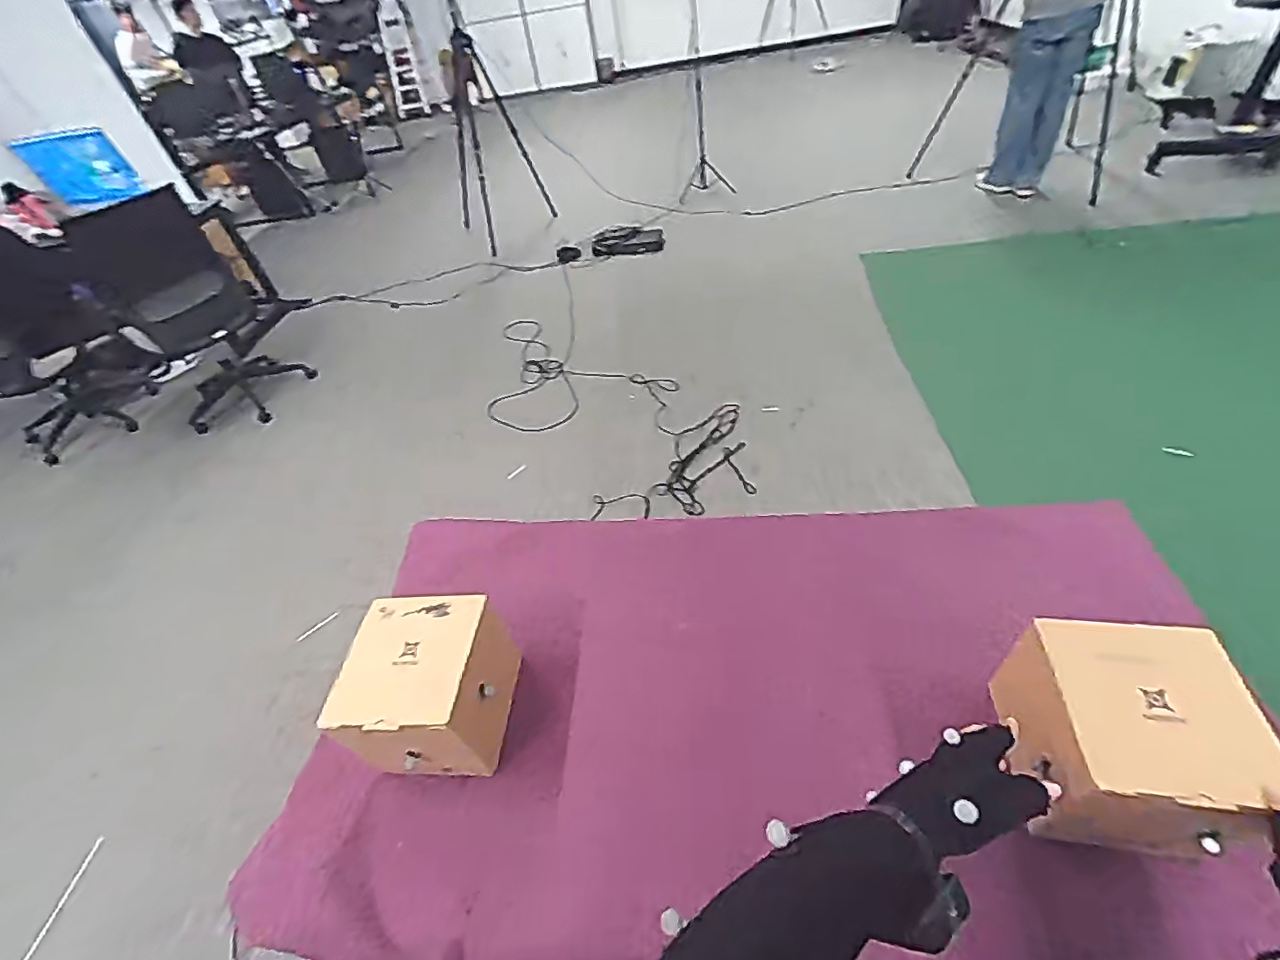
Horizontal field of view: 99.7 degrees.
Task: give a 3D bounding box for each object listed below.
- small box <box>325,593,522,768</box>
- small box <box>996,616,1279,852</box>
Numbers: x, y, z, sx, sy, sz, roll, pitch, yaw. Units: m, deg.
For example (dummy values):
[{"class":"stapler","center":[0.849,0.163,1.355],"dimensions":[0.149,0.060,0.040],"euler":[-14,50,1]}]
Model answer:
[{"class":"small box","center":[-0.273,0.273,0.732],"dimensions":[0.168,0.176,0.179],"euler":[-3,45,8]},{"class":"small box","center":[0.511,0.269,0.573],"dimensions":[0.168,0.176,0.179],"euler":[1,46,13]}]
